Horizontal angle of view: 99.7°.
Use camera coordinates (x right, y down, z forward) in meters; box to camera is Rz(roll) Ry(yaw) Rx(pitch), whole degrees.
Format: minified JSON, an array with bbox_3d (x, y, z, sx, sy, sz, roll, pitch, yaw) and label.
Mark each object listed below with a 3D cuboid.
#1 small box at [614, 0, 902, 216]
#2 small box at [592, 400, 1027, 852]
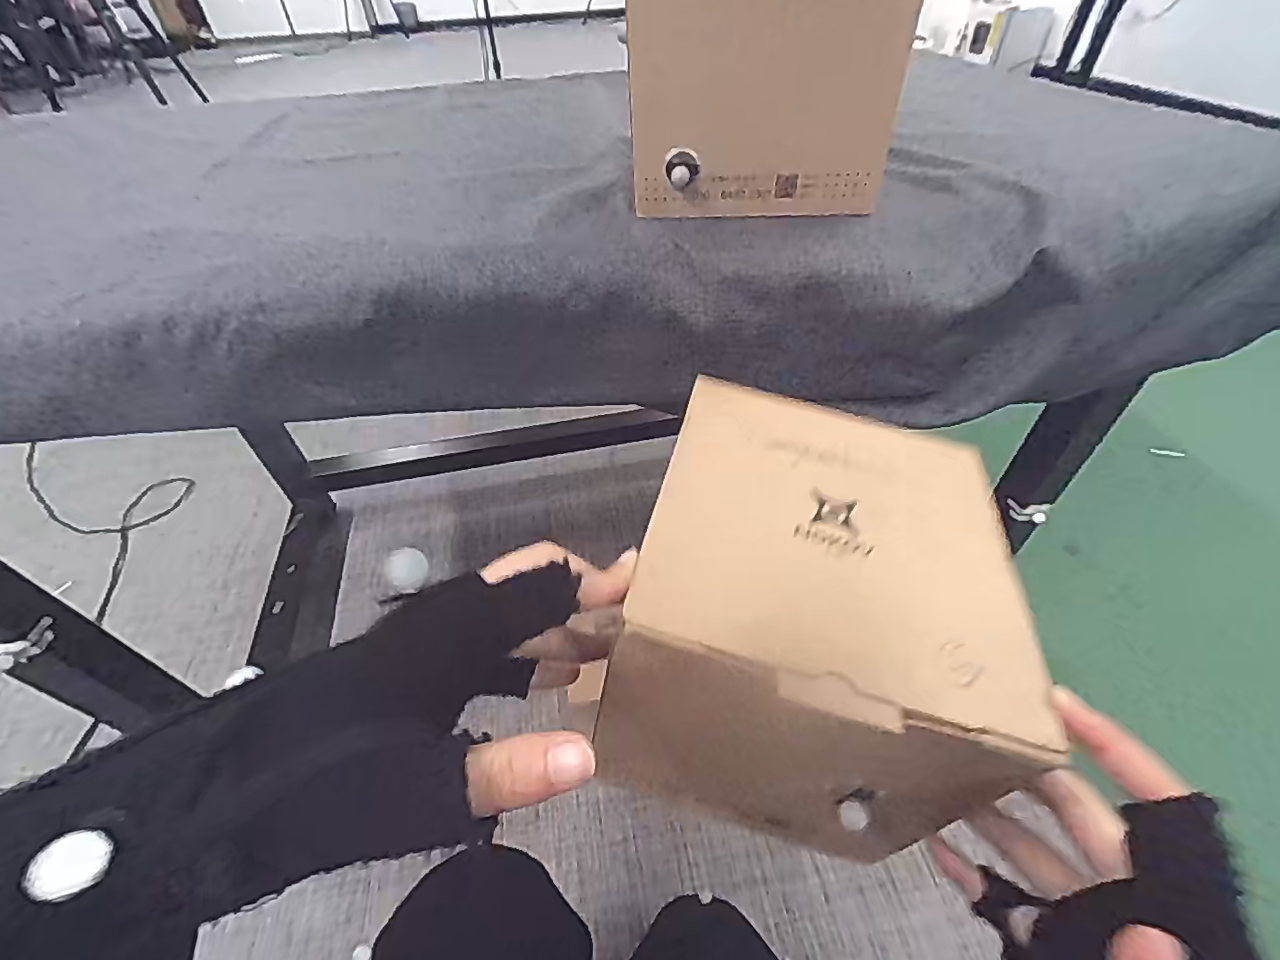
[{"bbox_3d":[0.074,-0.299,0.382,0.168,0.176,0.179,1,45,4],"label":"small box"},{"bbox_3d":[0.074,0.085,0.319,0.168,0.176,0.179,16,43,5],"label":"small box"}]
